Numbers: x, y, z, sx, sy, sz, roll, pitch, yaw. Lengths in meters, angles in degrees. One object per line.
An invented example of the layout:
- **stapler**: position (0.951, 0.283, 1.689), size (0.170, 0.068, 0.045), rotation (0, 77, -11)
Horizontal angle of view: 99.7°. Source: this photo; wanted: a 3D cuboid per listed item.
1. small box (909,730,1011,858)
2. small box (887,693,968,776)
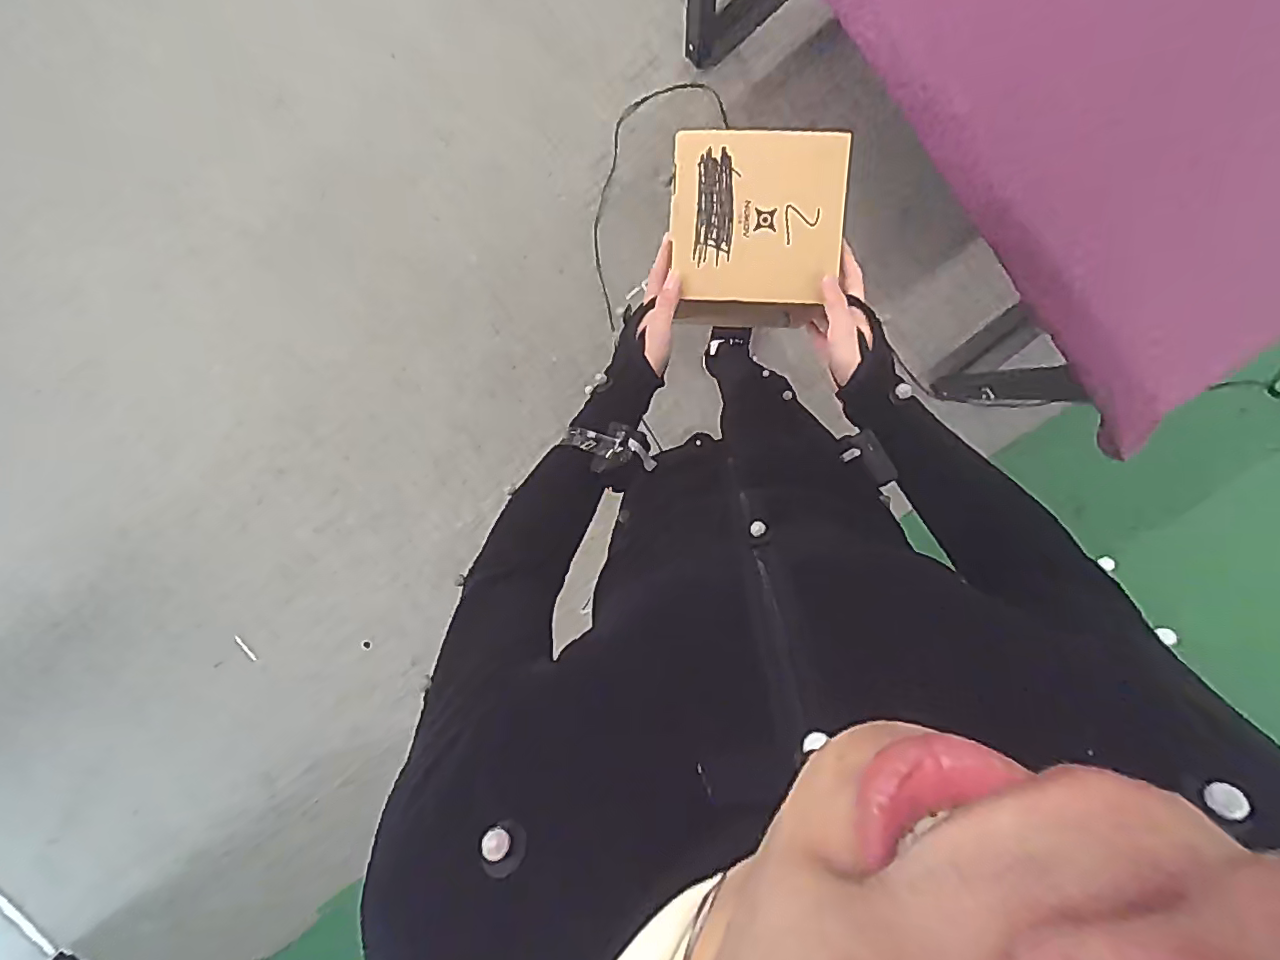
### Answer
- **small box**: position (0.774, 0.728, 1.261), size (0.179, 0.176, 0.168), rotation (-41, 93, 9)
- **small box**: position (0.782, 0.704, 1.423), size (0.179, 0.176, 0.168), rotation (-39, 94, 8)
